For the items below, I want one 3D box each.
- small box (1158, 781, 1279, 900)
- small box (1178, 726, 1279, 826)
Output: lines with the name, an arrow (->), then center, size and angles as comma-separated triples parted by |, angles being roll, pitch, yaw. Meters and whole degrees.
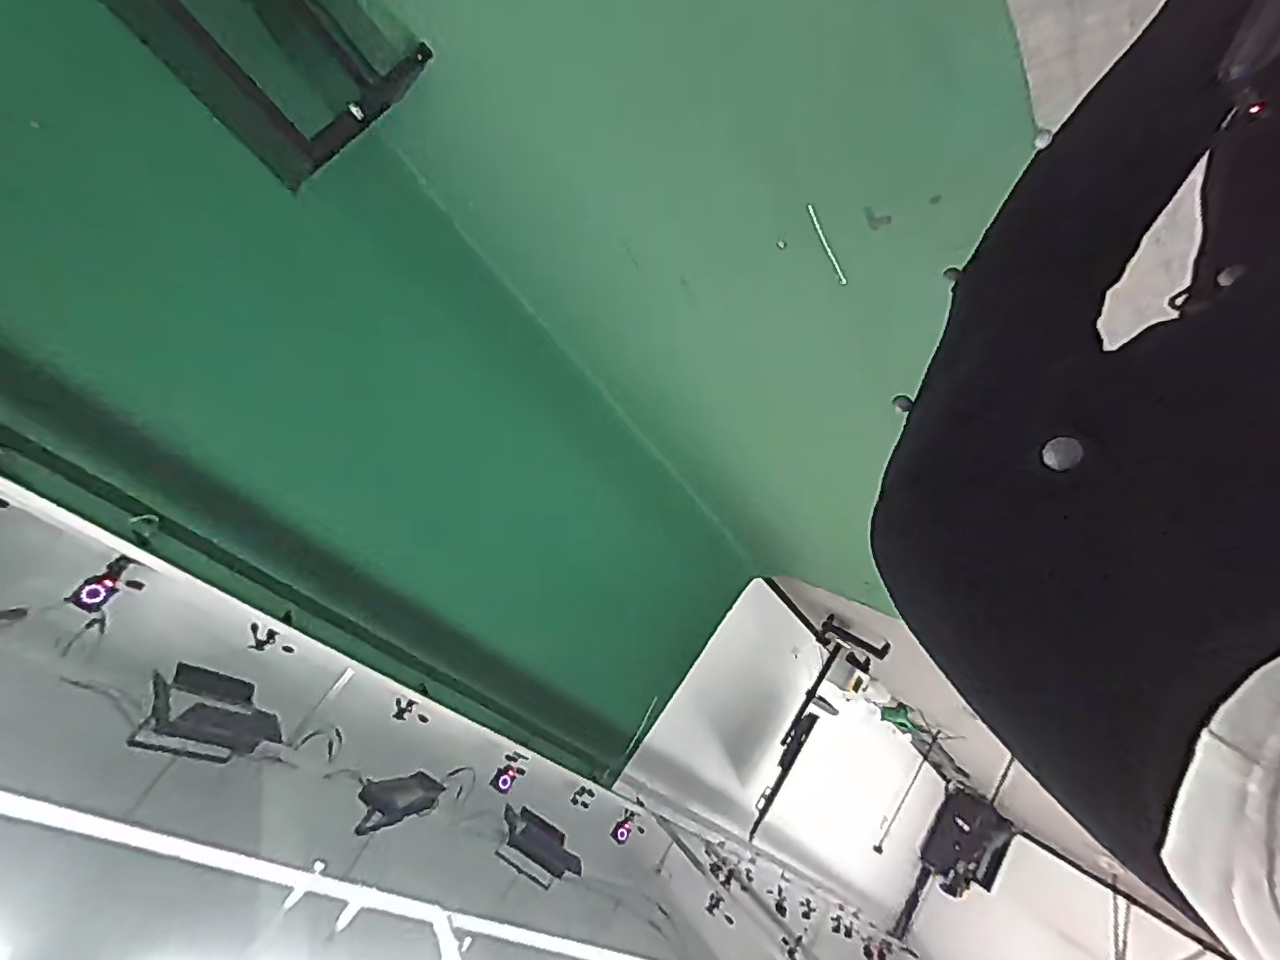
small box -> 1.449, 0.899, 1.355 | 0.179, 0.176, 0.168 | 20, 157, 49
small box -> 1.545, 0.775, 1.398 | 0.179, 0.176, 0.168 | 22, 159, 49
